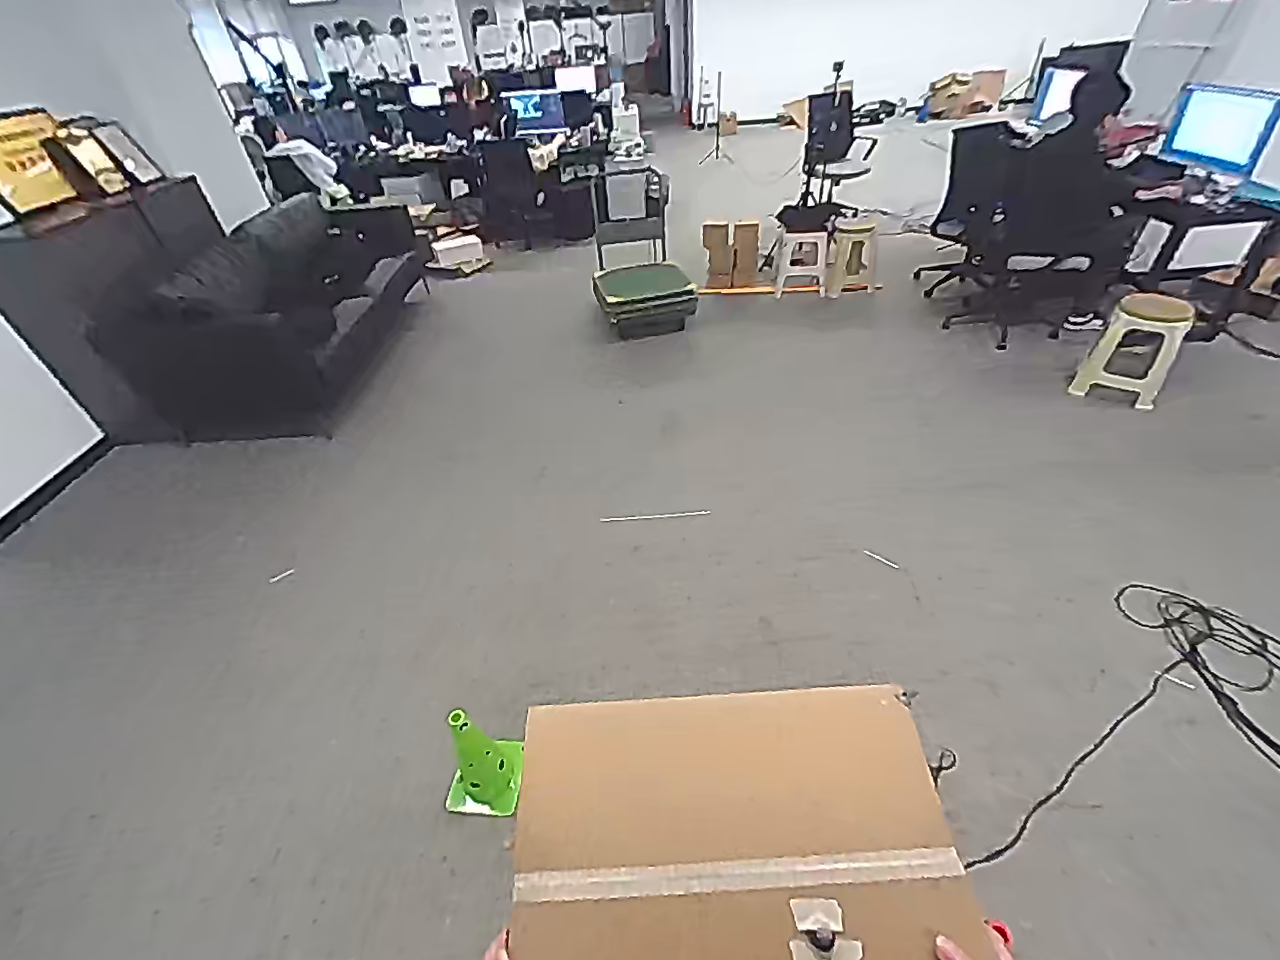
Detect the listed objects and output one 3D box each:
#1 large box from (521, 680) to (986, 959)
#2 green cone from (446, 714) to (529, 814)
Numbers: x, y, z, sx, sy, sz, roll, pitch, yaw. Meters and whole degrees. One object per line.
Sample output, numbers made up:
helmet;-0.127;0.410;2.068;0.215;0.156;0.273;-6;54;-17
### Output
large box;0.096;0.448;0.619;0.408;0.320;0.320;-5;53;1
green cone;-0.450;0.725;1.454;0.200;0.368;0.202;0;42;6
